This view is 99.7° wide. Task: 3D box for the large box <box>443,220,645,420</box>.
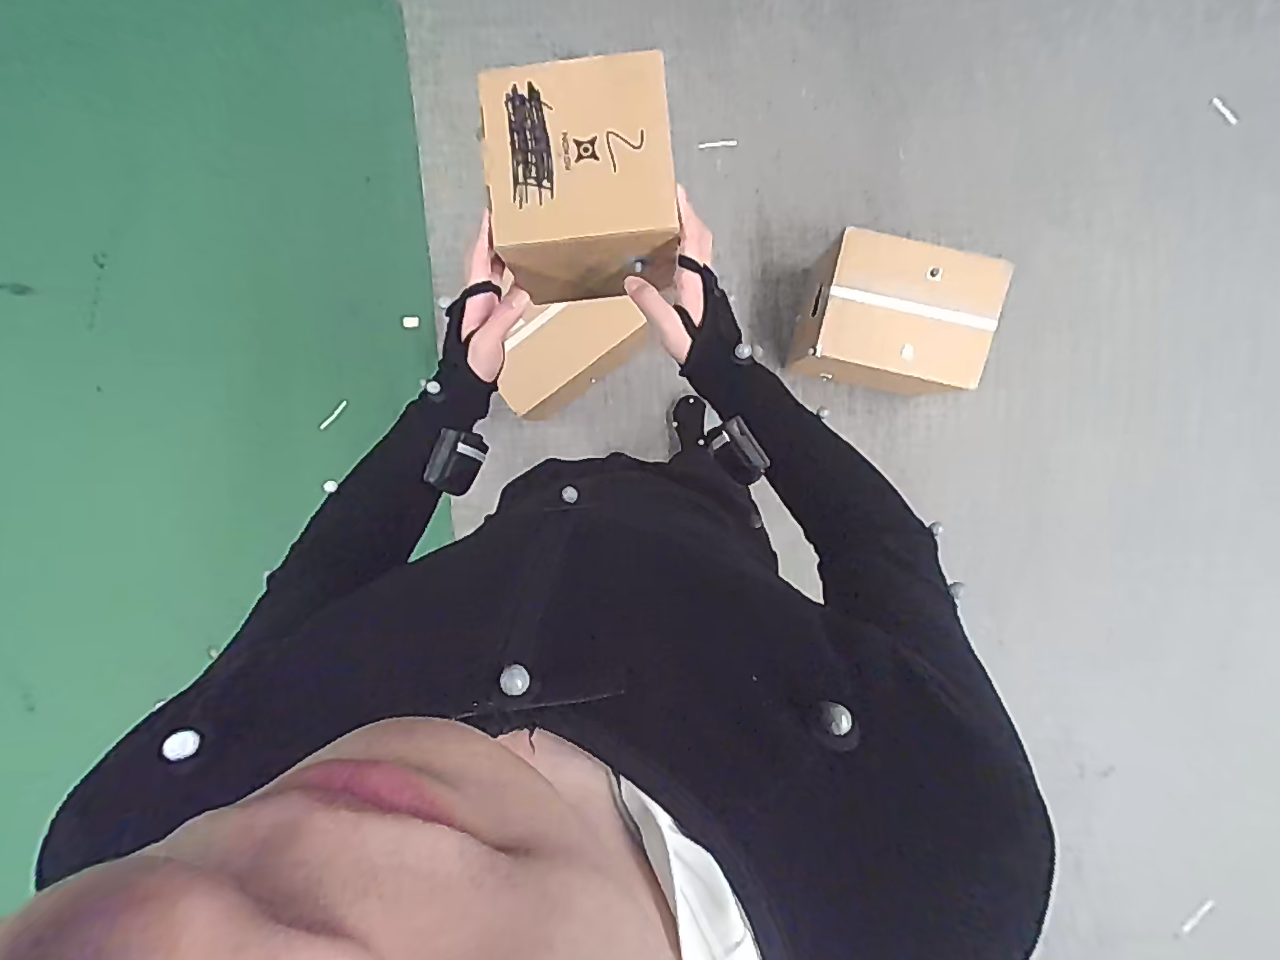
[{"bbox_3d":[-0.233,-0.403,1.464,0.408,0.320,0.320,-37,92,5],"label":"large box"}]
